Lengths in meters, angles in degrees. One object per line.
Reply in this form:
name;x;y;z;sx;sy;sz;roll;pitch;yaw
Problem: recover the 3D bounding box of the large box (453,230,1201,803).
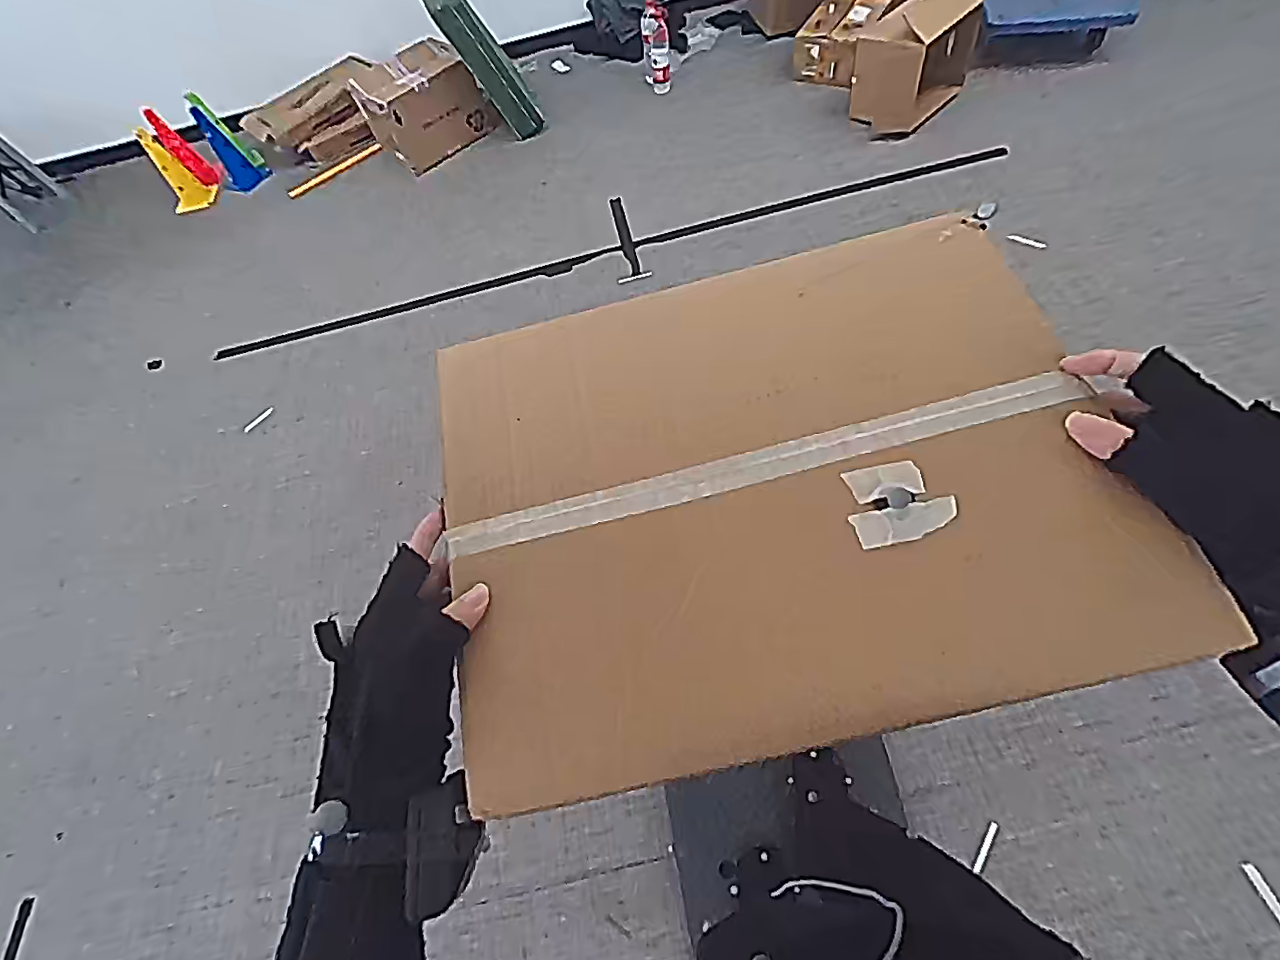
large box;0.096;0.053;0.489;0.408;0.320;0.320;-14;67;2
